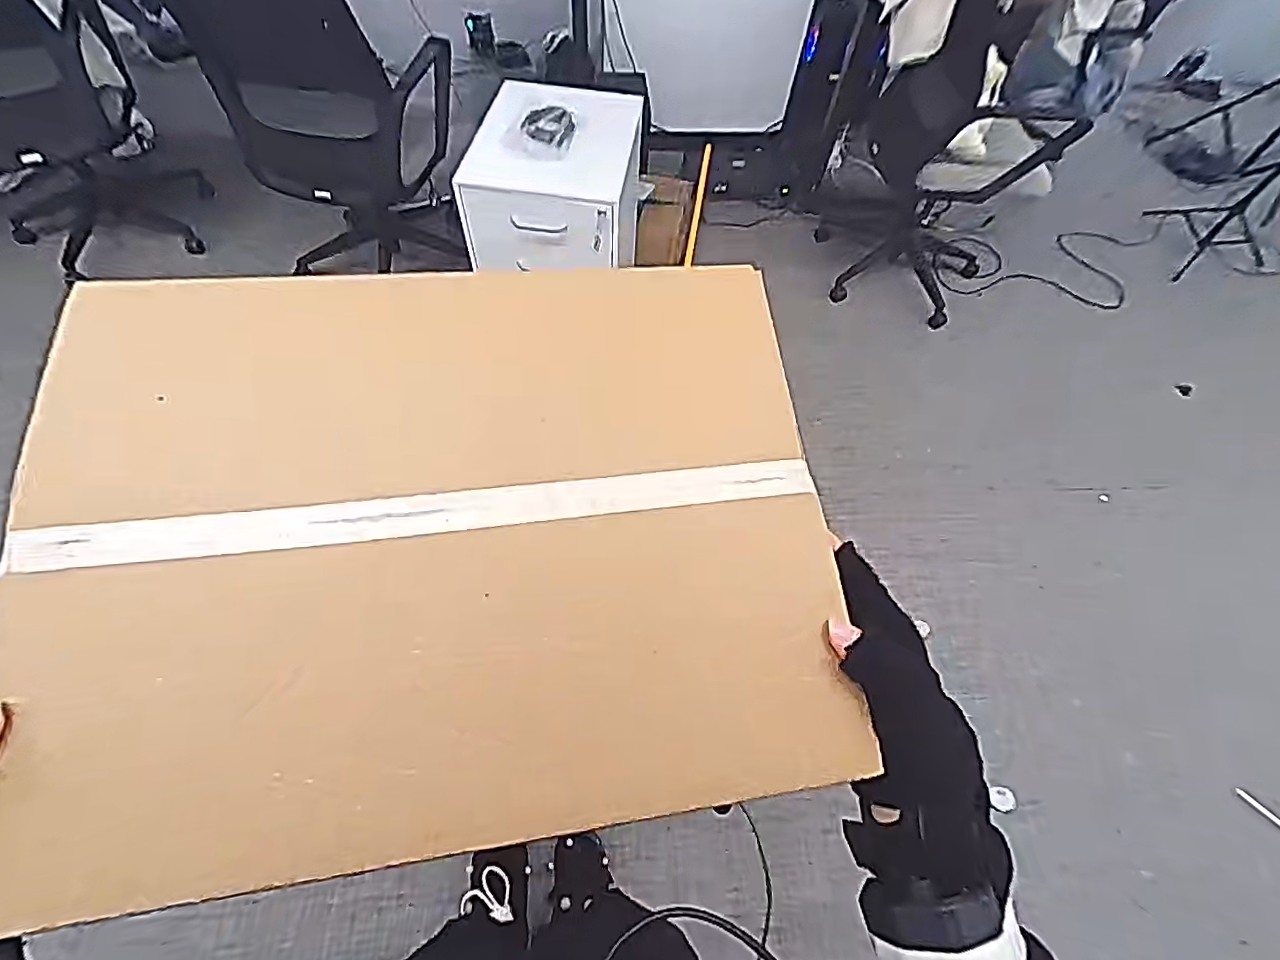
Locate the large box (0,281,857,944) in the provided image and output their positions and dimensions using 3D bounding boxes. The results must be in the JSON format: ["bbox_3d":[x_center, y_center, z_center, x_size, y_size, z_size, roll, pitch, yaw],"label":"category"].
[{"bbox_3d":[-0.116,0.075,0.435,0.408,0.320,0.320,-5,71,-8],"label":"large box"}]
